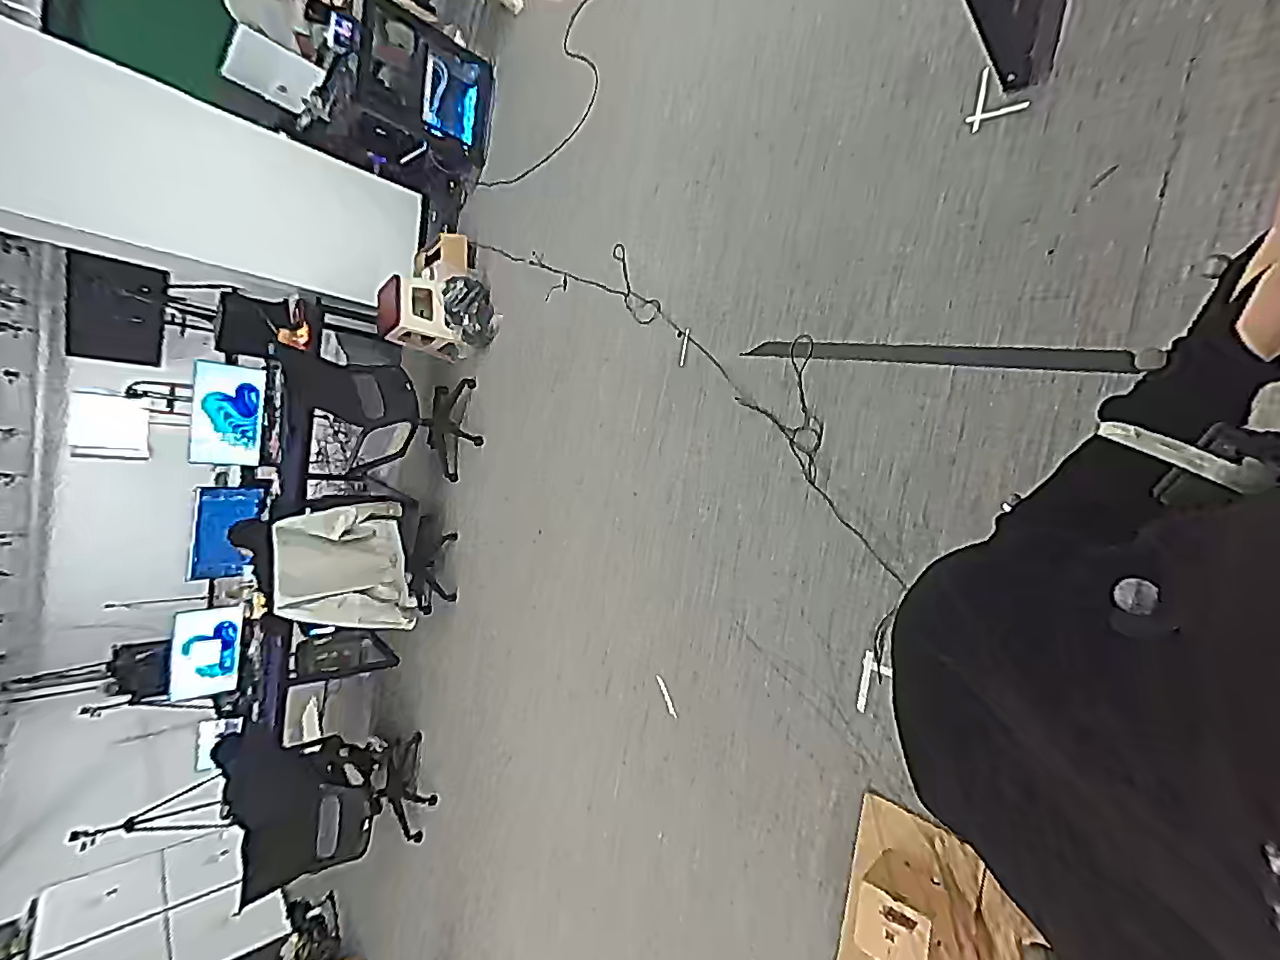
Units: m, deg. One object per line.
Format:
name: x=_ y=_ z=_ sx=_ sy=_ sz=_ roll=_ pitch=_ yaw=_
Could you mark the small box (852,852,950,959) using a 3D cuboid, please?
small box: x=0.647 y=1.072 z=1.332 sx=0.168 sy=0.176 sz=0.179 roll=7 pitch=93 yaw=45
